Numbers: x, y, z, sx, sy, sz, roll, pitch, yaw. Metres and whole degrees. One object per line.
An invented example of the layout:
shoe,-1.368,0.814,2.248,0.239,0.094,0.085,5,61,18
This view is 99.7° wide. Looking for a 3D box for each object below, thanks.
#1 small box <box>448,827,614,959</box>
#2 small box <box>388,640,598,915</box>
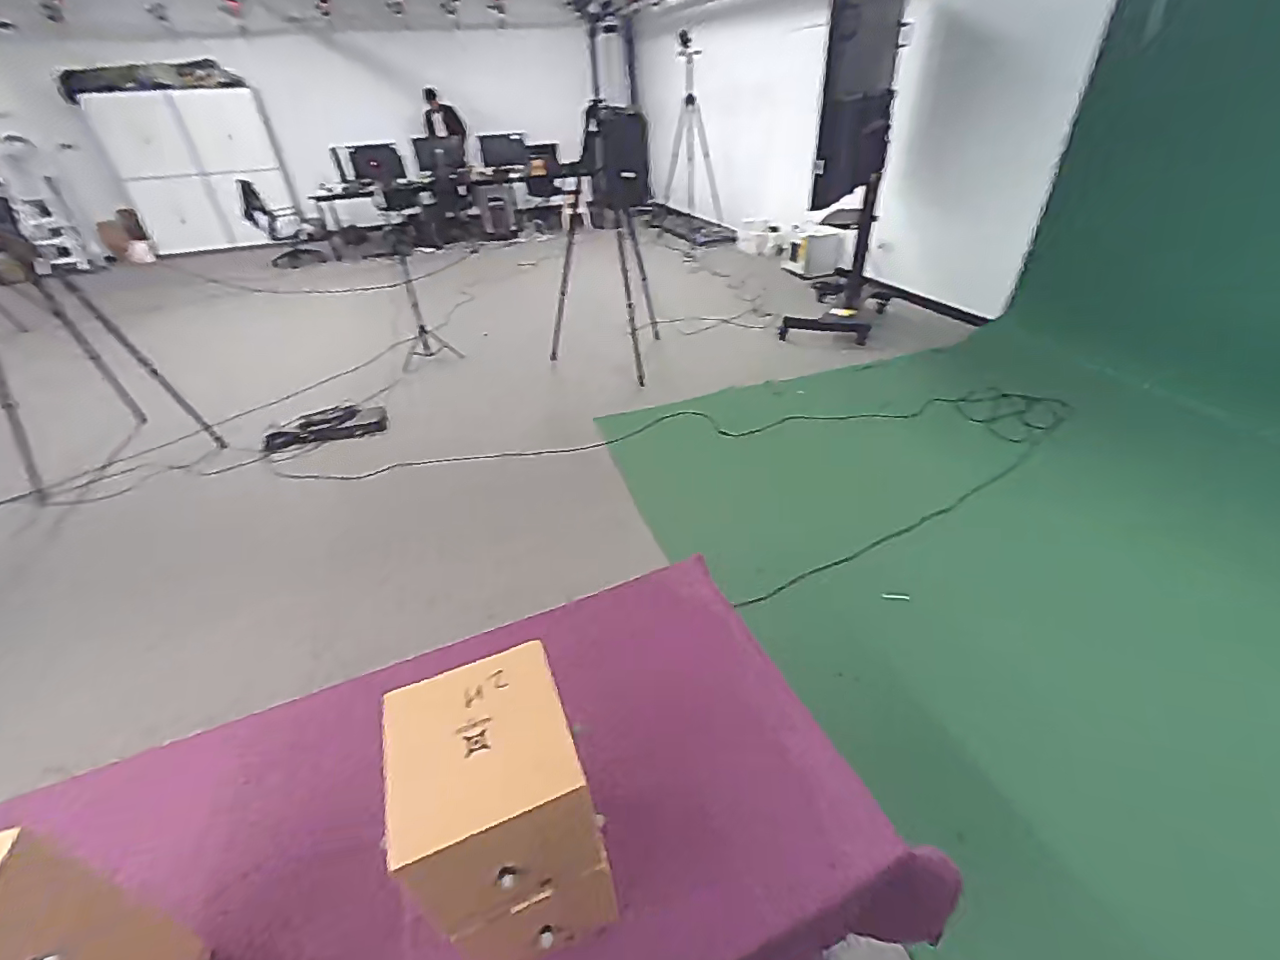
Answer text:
small box,-0.137,0.441,0.659,0.168,0.176,0.179,-15,38,-16
small box,-0.149,0.308,0.561,0.168,0.176,0.179,-15,37,-17
